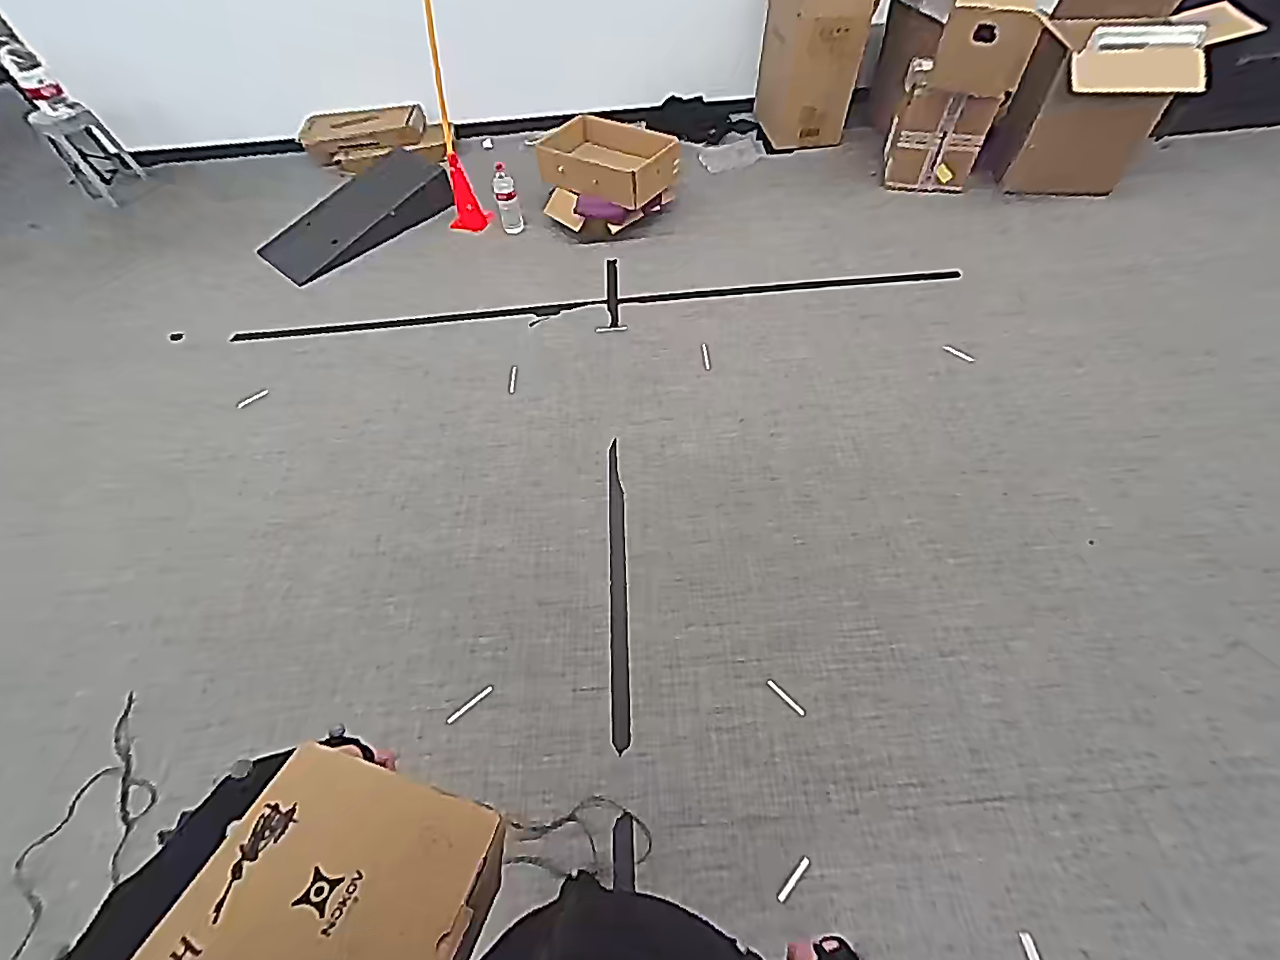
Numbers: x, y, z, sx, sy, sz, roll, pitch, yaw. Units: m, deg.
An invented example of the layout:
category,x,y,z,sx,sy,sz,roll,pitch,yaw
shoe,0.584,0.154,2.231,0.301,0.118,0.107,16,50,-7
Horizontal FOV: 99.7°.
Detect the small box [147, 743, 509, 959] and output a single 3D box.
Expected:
category,x,y,z,sx,sy,sz,roll,pitch,yaw
small box,-0.219,0.345,0.417,0.179,0.176,0.168,18,38,5
